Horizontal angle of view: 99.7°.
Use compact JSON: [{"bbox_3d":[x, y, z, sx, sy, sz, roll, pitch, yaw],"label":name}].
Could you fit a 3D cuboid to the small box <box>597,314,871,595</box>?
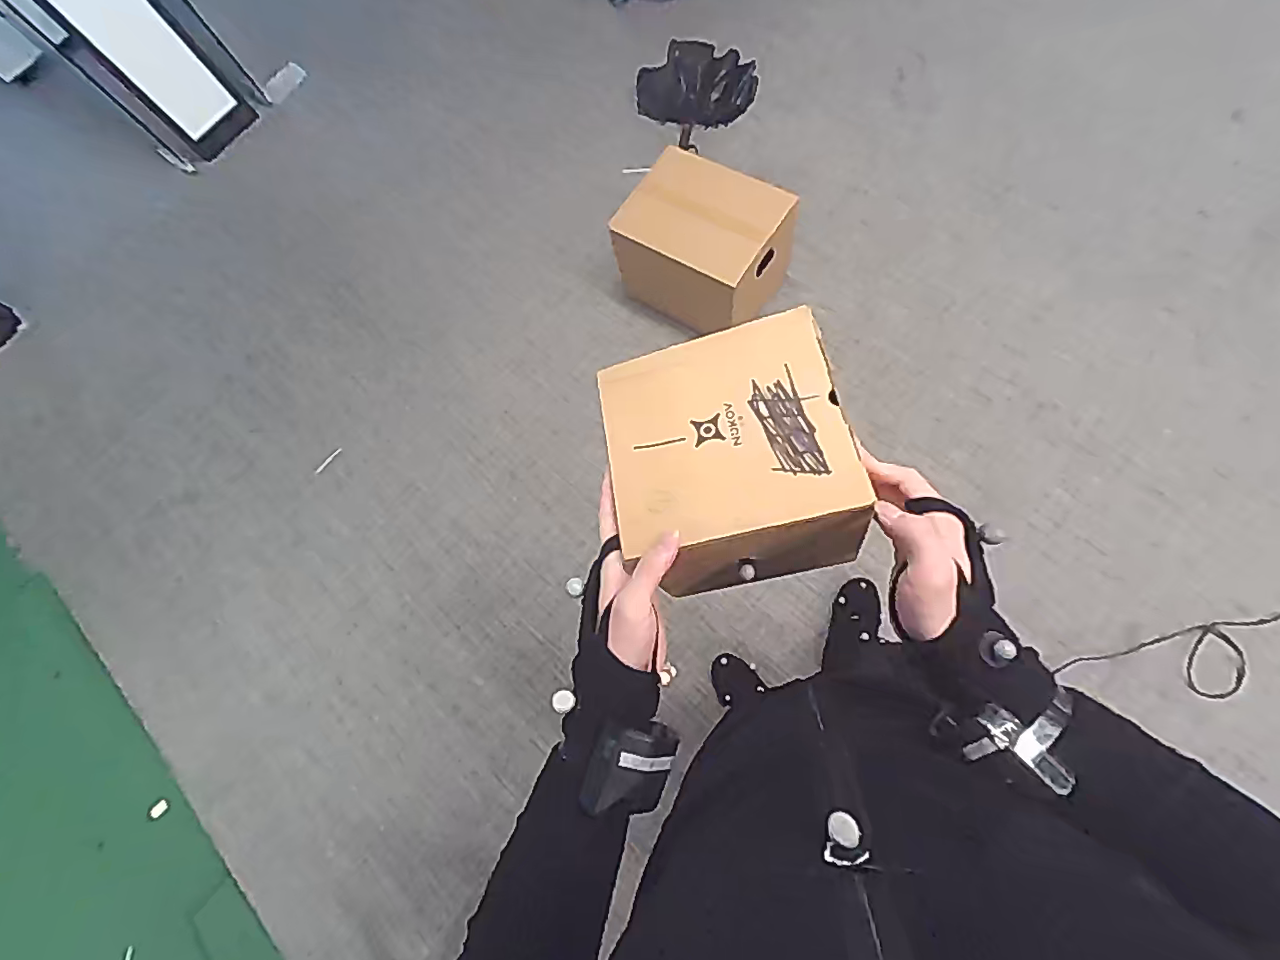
[{"bbox_3d":[0.080,-0.007,0.469,0.179,0.176,0.168,-15,65,12],"label":"small box"}]
